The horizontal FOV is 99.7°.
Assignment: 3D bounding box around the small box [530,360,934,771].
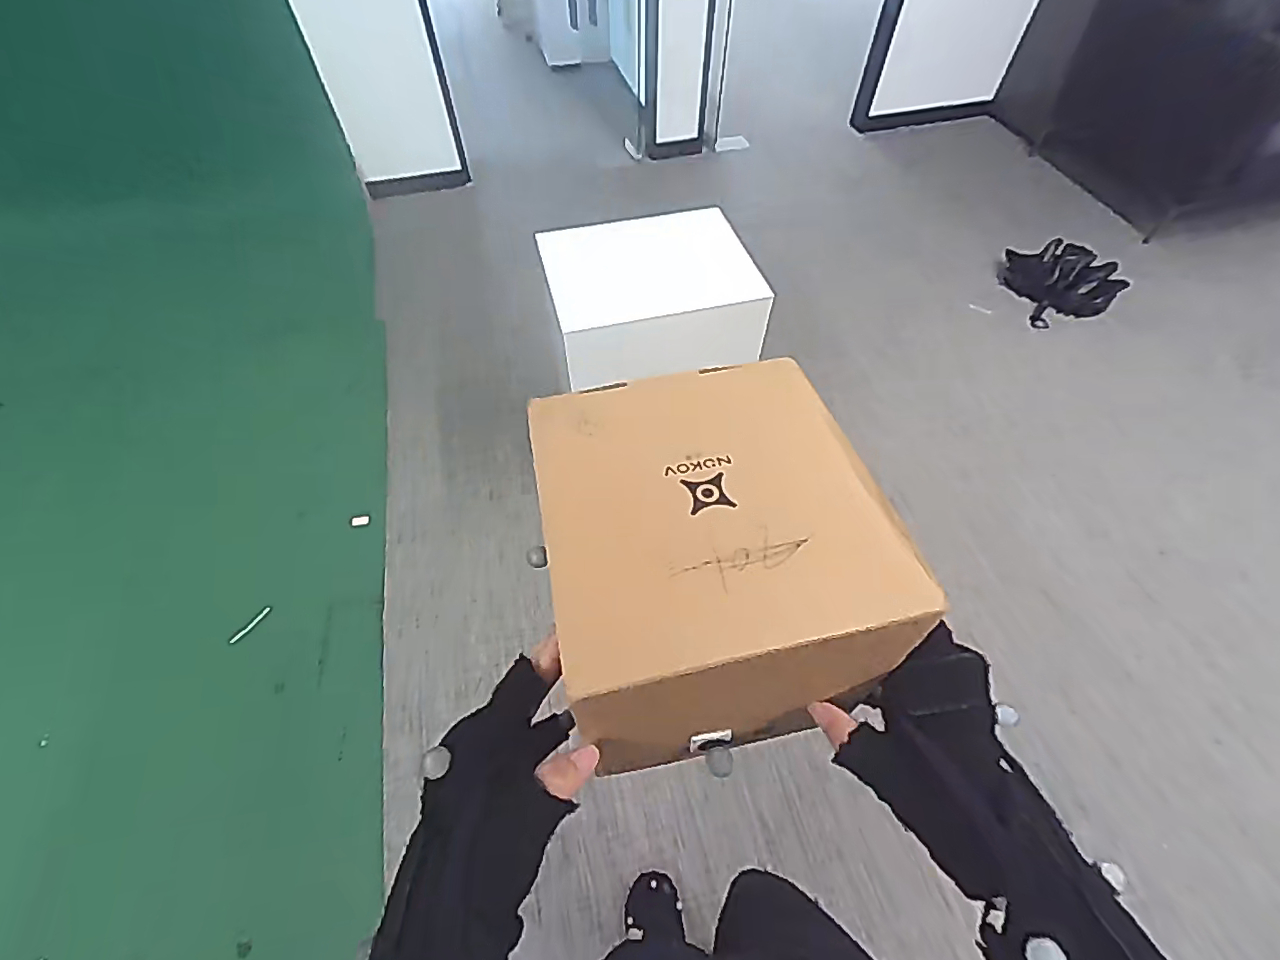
[{"bbox_3d":[0.034,0.055,0.340,0.168,0.176,0.179,-12,52,-6],"label":"small box"}]
